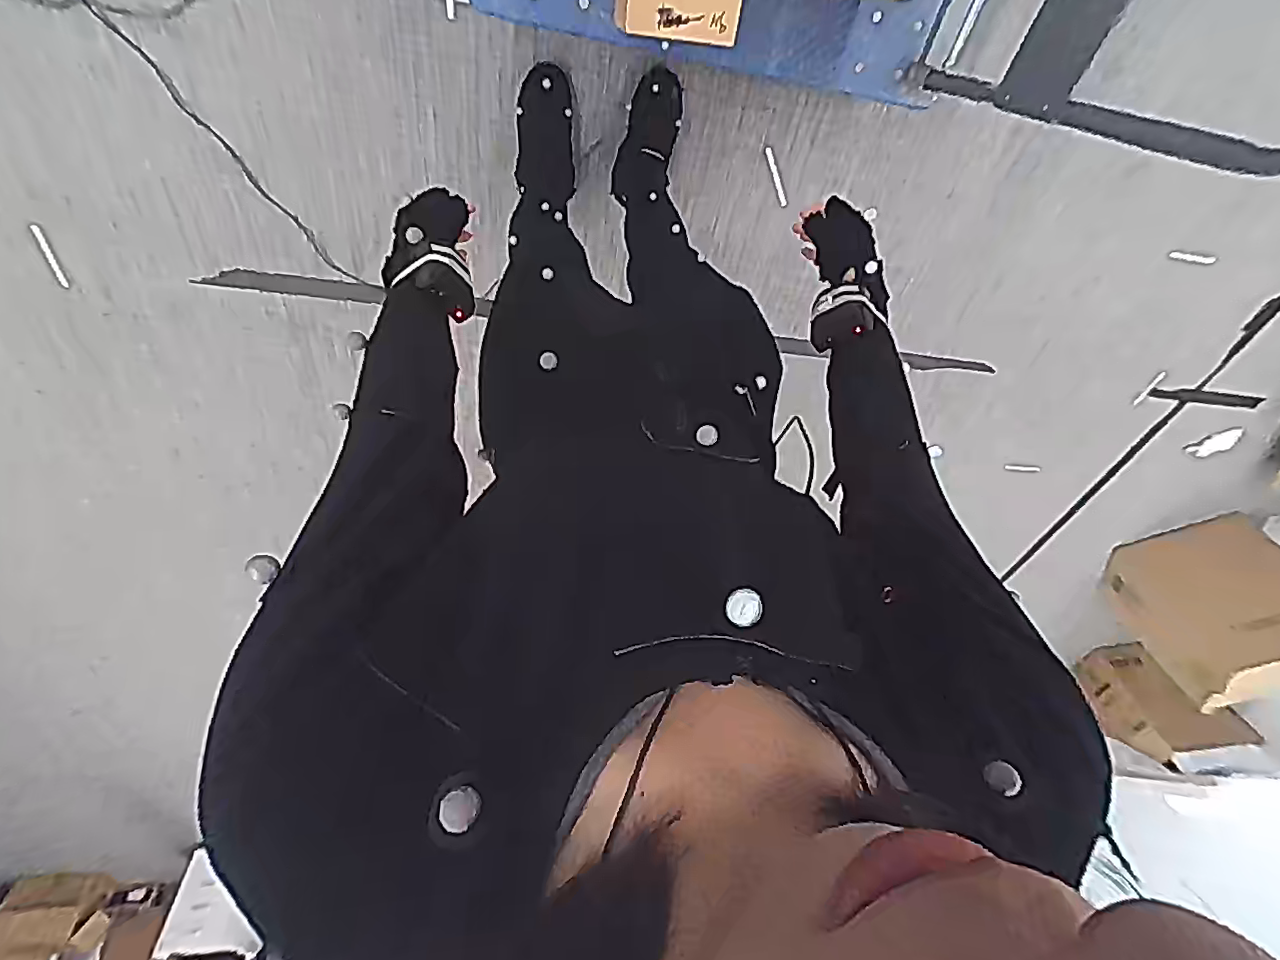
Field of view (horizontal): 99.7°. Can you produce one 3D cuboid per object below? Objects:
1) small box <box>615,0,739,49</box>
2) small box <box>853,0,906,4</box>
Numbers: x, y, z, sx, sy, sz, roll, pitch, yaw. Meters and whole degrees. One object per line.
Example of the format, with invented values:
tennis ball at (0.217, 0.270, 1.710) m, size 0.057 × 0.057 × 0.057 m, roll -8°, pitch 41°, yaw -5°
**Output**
small box at (0.055, -0.760, 0.794) m, size 0.168 × 0.176 × 0.179 m, roll 0°, pitch 131°, yaw -9°
small box at (0.313, -0.819, 0.782) m, size 0.179 × 0.176 × 0.168 m, roll 4°, pitch 132°, yaw -14°
